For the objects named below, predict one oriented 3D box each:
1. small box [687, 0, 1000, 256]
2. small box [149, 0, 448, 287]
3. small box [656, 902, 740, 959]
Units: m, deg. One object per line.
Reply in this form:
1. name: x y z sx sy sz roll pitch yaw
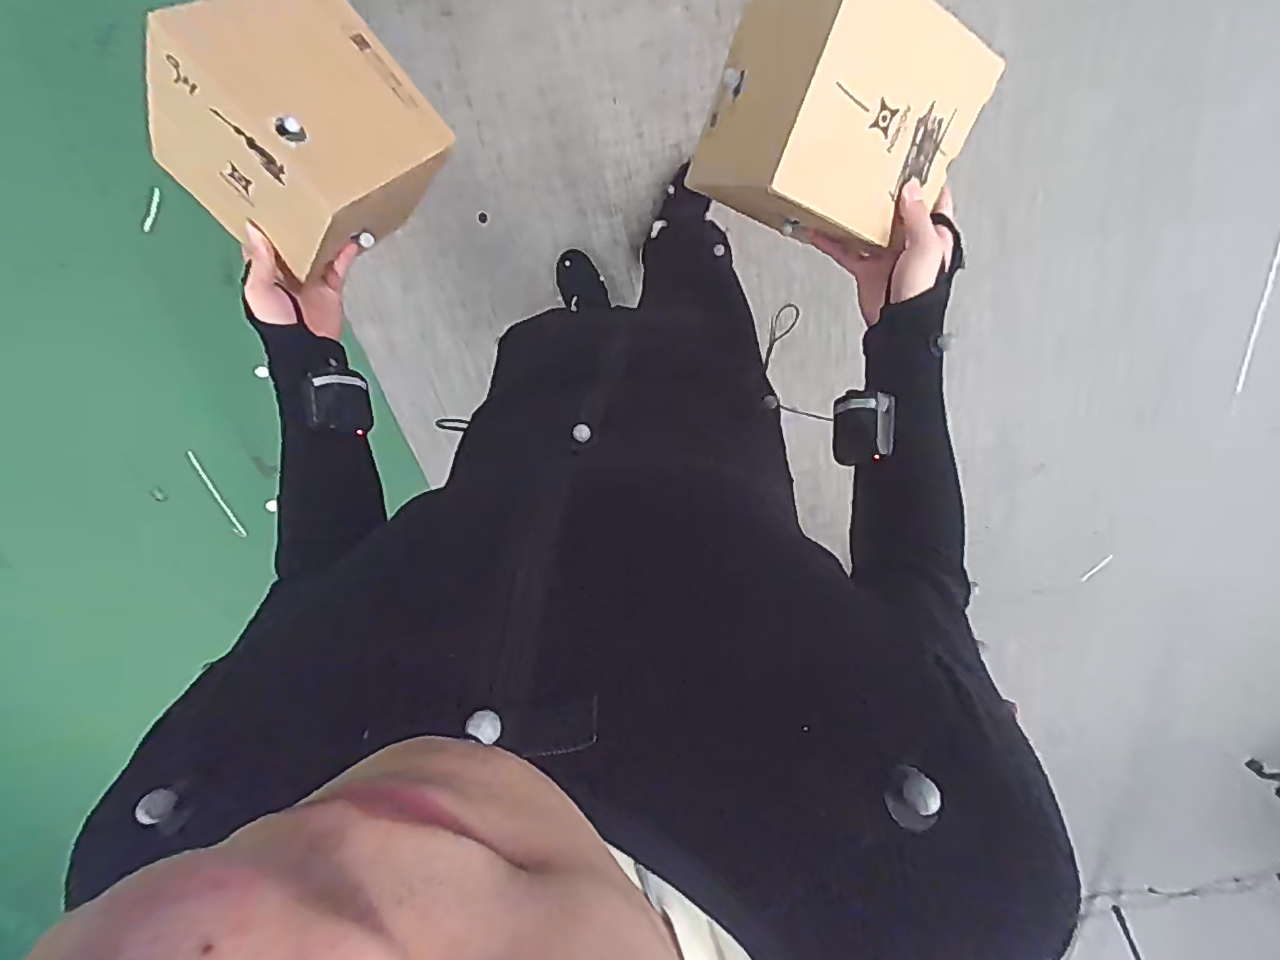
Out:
1. small box: 0.173 -0.331 0.508 0.179 0.176 0.168 11 112 -26
2. small box: -0.322 -0.330 0.530 0.179 0.176 0.168 -14 125 49
3. small box: 0.134 1.069 1.197 0.168 0.176 0.179 -13 117 5
